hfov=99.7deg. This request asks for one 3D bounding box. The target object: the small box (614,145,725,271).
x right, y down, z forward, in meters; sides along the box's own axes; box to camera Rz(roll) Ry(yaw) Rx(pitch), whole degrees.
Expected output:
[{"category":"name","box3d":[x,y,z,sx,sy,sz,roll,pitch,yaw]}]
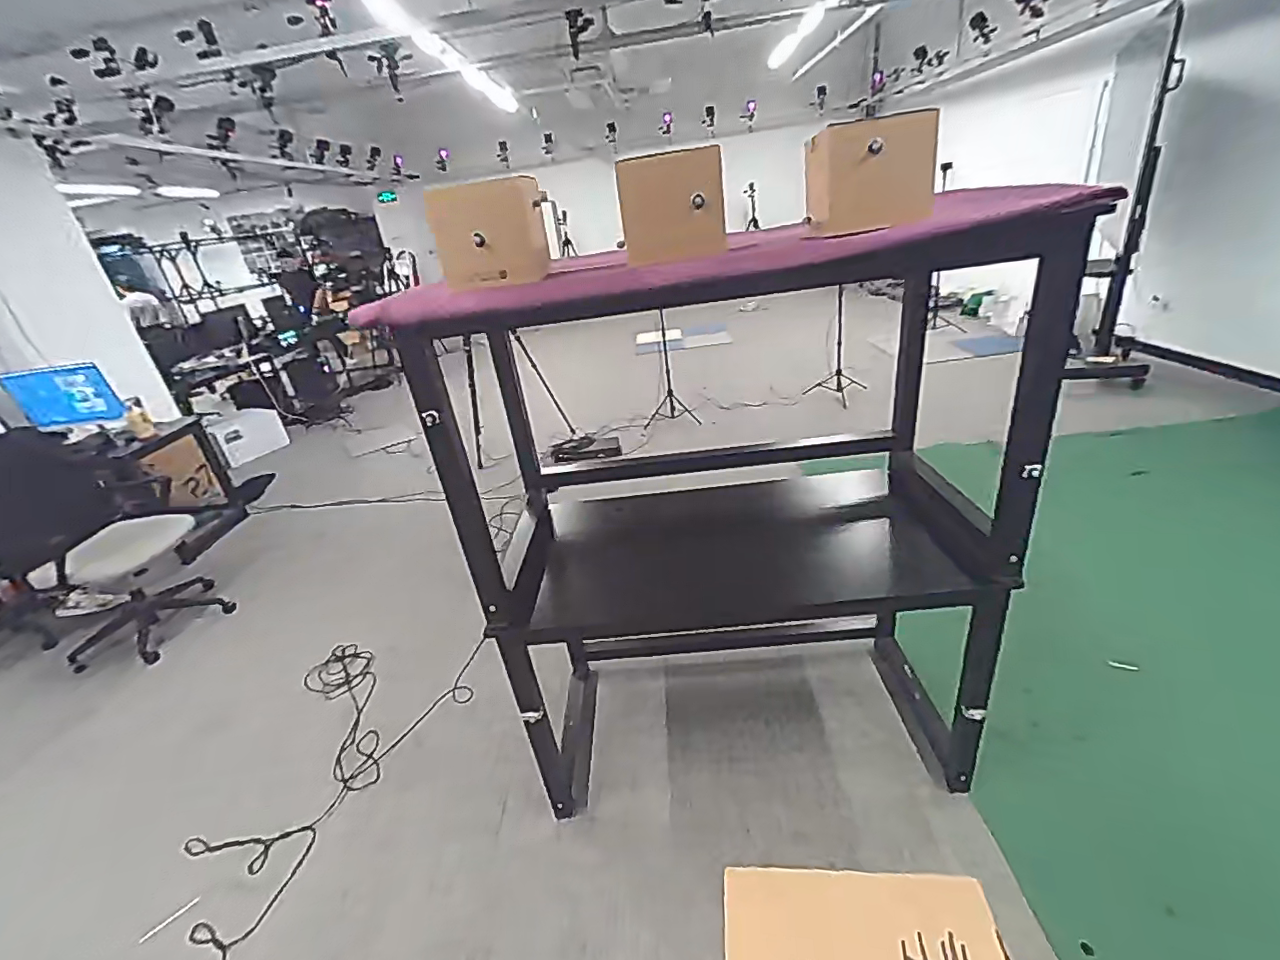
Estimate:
[{"category":"small box","box3d":[0.055,-0.481,0.964,0.179,0.176,0.168,-8,26,4]}]

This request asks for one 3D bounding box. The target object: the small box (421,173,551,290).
[{"category":"small box","box3d":[-0.265,-0.446,0.978,0.168,0.176,0.179,-6,27,3]}]

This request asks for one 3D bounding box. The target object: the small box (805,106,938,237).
[{"category":"small box","box3d":[0.400,-0.533,0.958,0.179,0.176,0.168,-6,25,6]}]
